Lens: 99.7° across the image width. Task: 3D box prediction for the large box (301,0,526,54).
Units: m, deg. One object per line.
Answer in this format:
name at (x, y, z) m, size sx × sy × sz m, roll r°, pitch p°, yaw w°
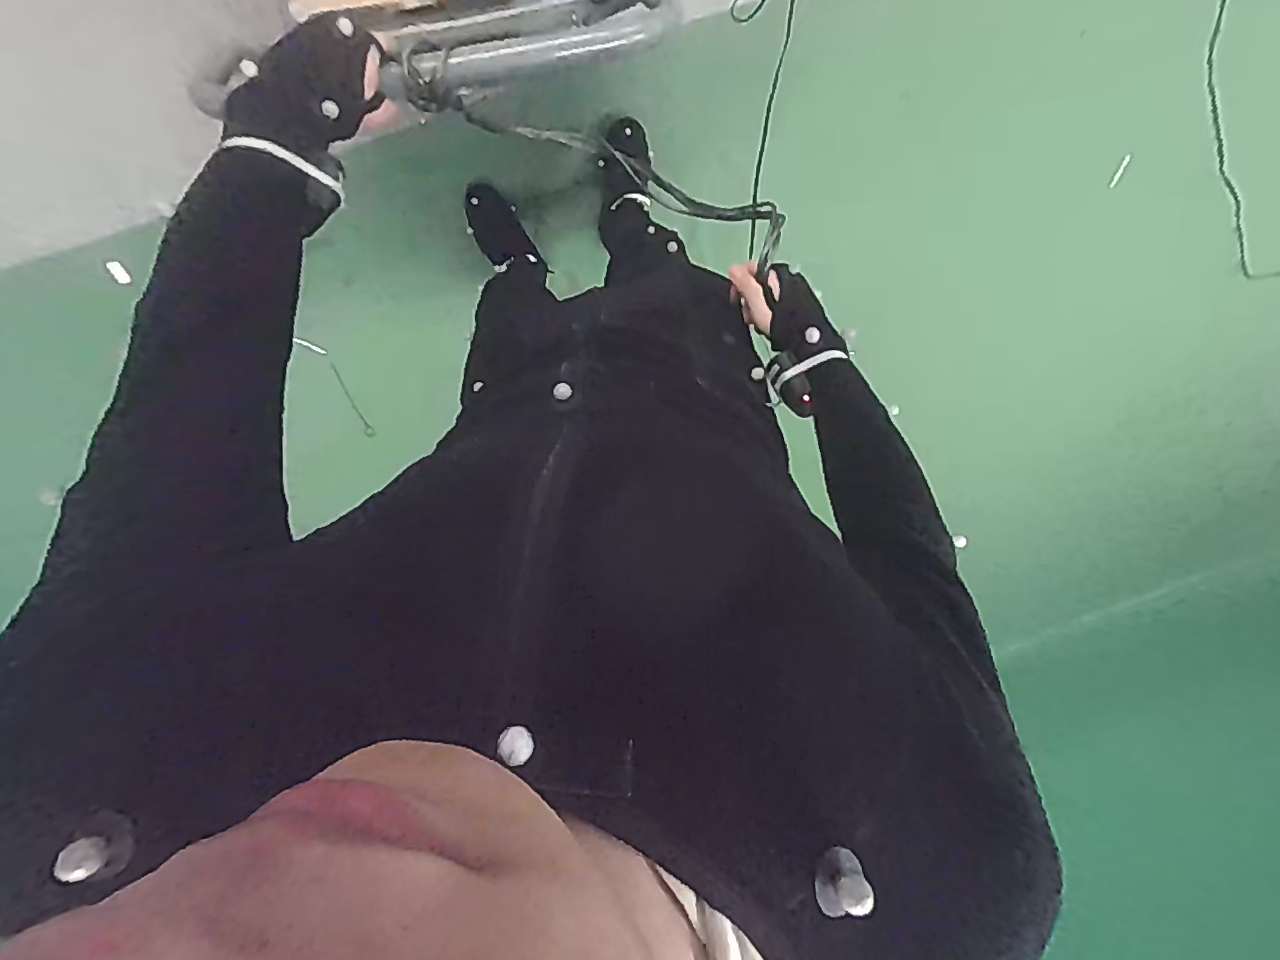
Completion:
large box at (-0.367, -0.907, 0.777) m, size 0.320 × 0.320 × 0.408 m, roll -13°, pitch 124°, yaw -5°
